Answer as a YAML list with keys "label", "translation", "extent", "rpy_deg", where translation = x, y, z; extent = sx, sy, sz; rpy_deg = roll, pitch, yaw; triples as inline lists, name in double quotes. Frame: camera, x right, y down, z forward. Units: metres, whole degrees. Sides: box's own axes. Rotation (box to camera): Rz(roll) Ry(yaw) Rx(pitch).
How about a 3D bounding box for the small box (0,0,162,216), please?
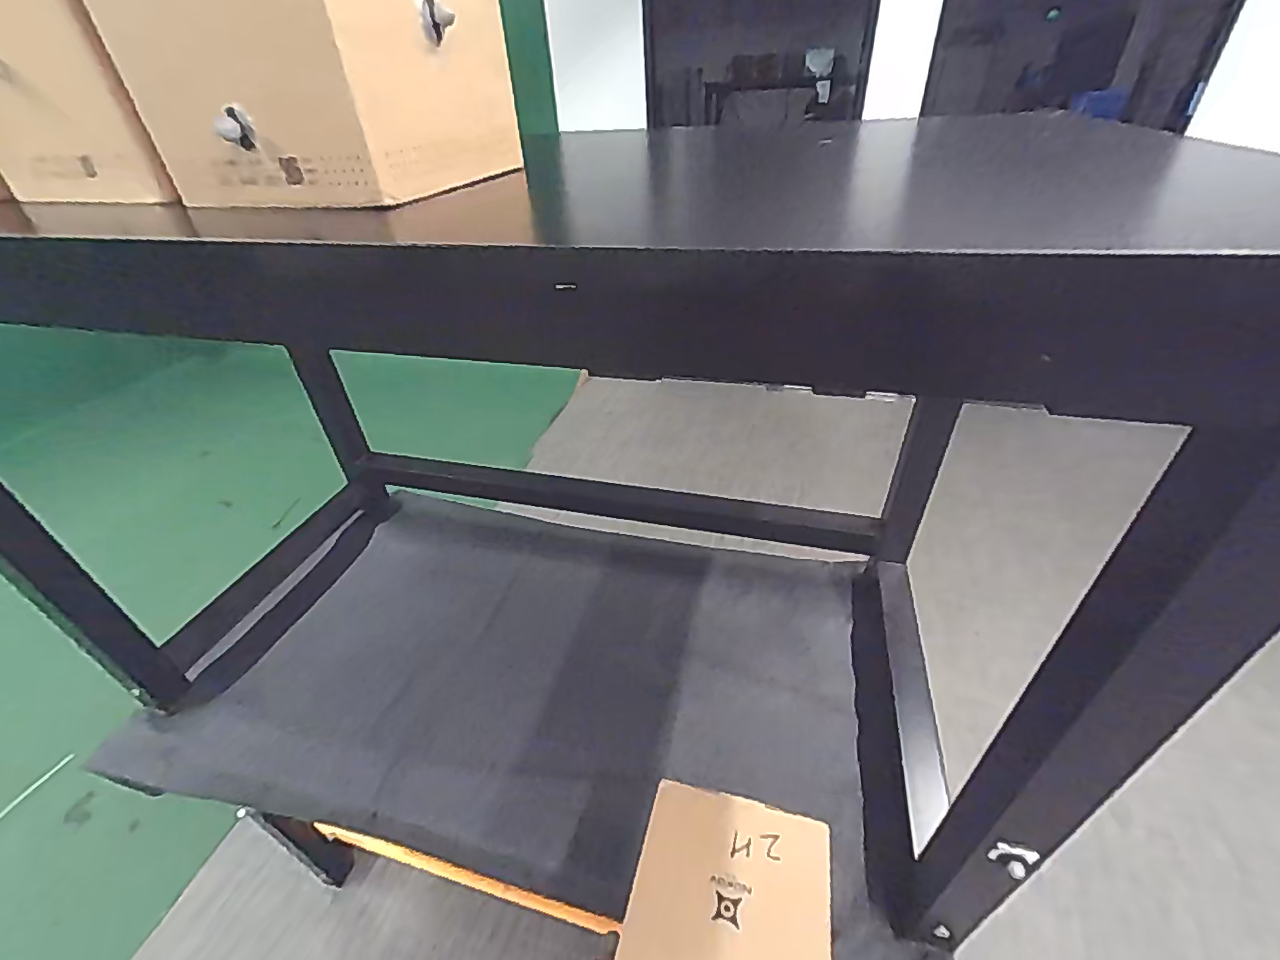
- label: "small box"
  translation: [-0.573, -0.336, 0.465]
  extent: [0.168, 0.176, 0.179]
  rpy_deg: [8, 39, 15]
